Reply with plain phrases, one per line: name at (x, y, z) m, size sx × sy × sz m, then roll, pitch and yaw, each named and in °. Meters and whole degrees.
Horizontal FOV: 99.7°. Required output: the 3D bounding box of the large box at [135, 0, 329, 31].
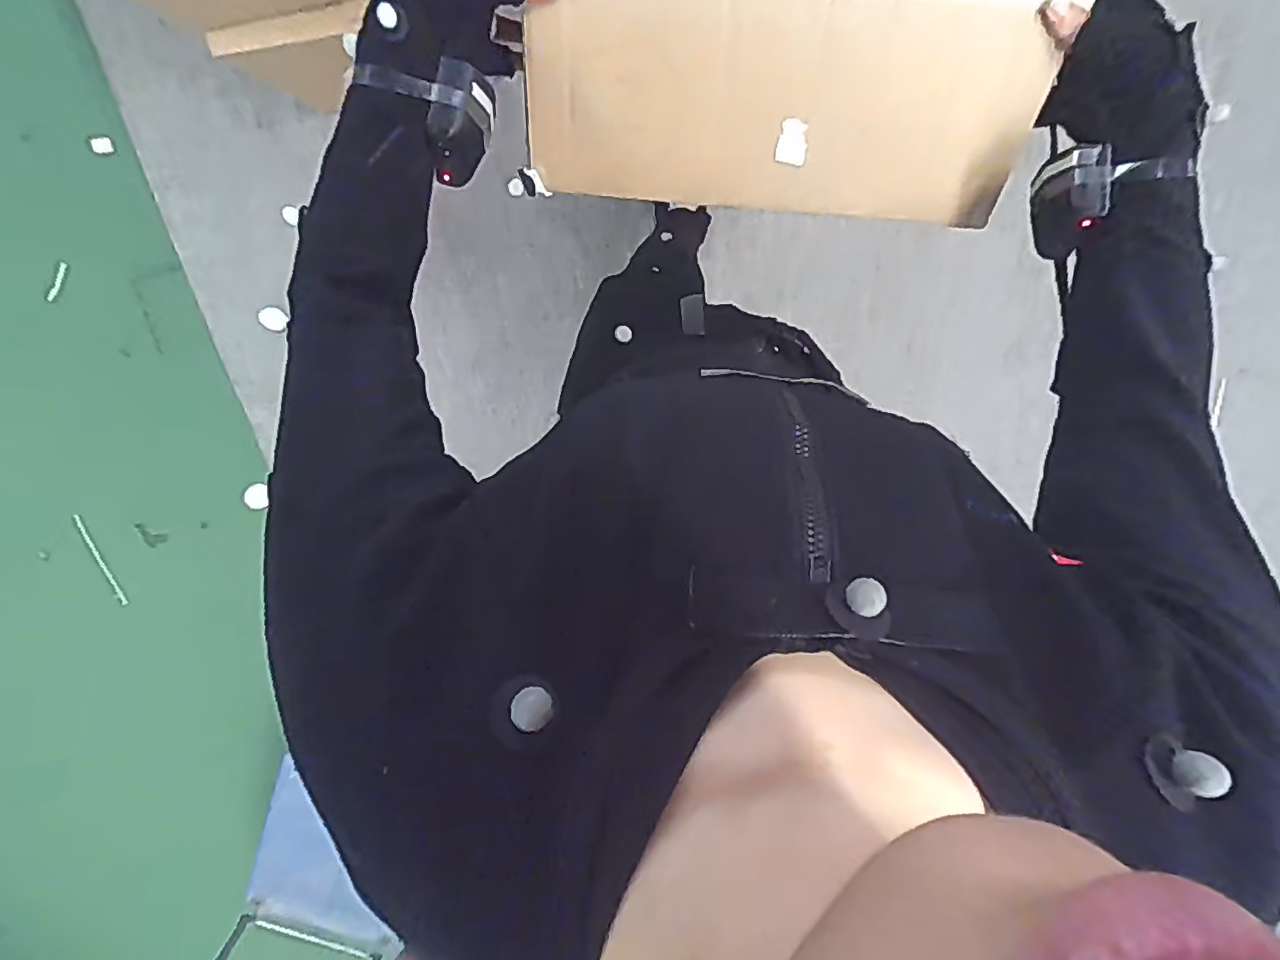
large box at (-0.585, -0.867, 0.695) m, size 0.408 × 0.320 × 0.320 m, roll -8°, pitch 107°, yaw 4°
